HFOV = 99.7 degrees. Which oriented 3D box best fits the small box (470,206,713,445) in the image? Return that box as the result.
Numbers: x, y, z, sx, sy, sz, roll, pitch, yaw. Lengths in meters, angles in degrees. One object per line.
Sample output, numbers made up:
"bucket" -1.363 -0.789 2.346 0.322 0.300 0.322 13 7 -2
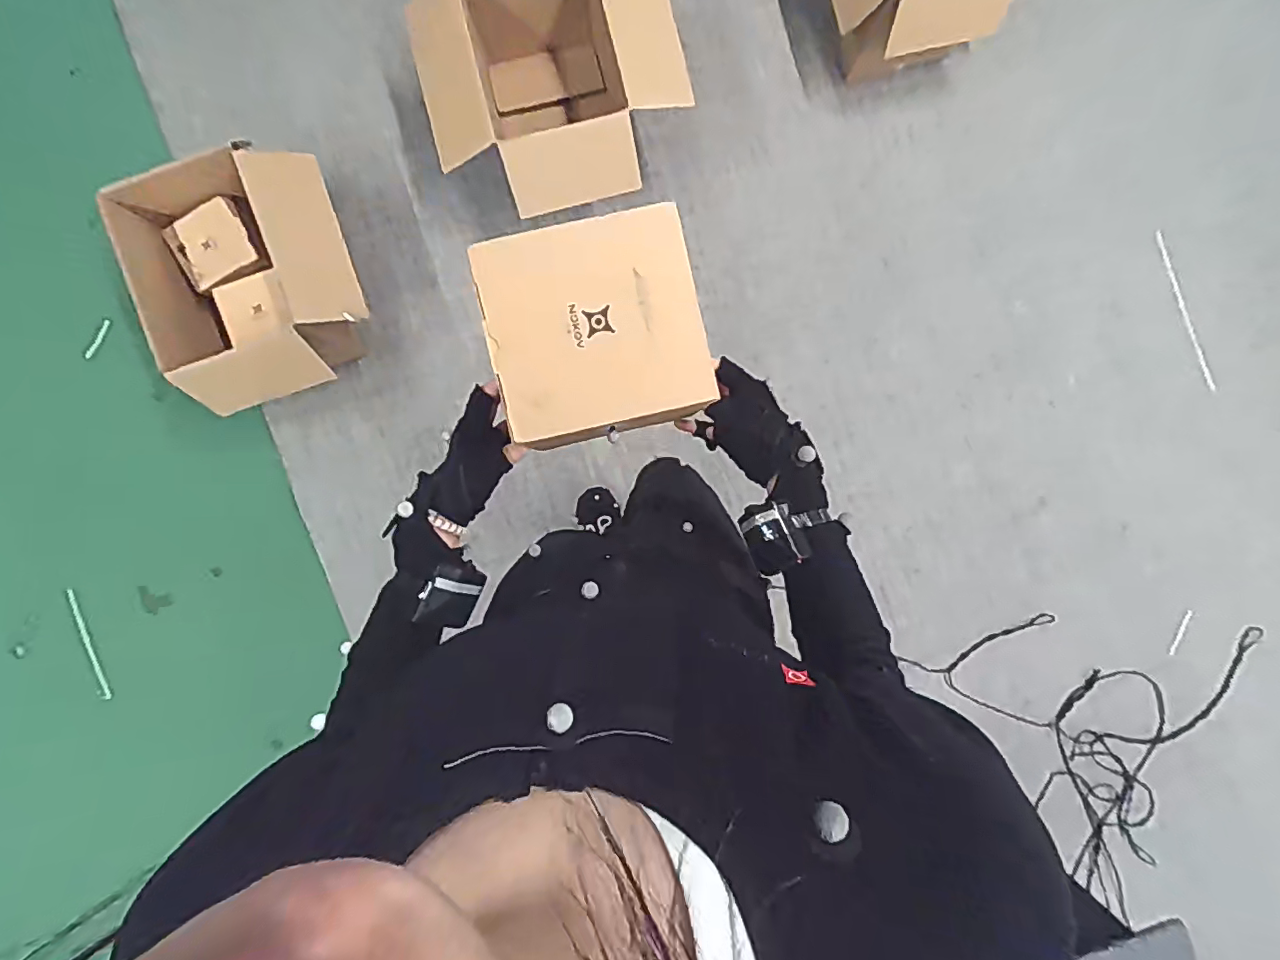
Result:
"small box" -0.041 -0.130 0.523 0.179 0.176 0.168 -12 93 -2
